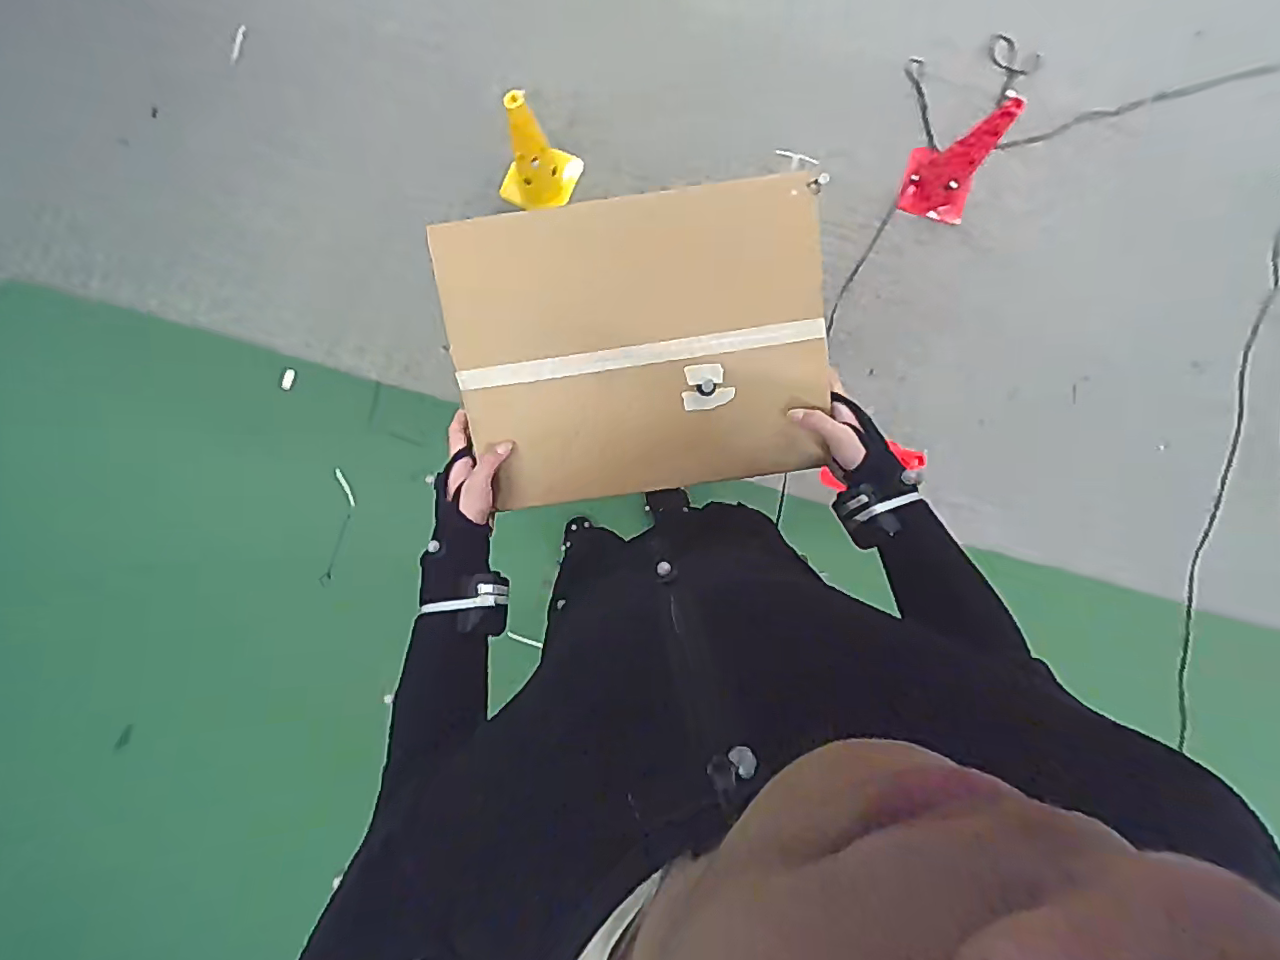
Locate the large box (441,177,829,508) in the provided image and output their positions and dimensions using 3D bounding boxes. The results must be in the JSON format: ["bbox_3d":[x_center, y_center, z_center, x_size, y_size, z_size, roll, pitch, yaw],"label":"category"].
[{"bbox_3d":[0.000,-0.175,0.745,0.408,0.320,0.320,-8,104,0],"label":"large box"}]

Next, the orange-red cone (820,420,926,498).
[{"bbox_3d":[0.667,-0.058,1.469,0.199,0.360,0.198,22,92,-2],"label":"orange-red cone"}]
